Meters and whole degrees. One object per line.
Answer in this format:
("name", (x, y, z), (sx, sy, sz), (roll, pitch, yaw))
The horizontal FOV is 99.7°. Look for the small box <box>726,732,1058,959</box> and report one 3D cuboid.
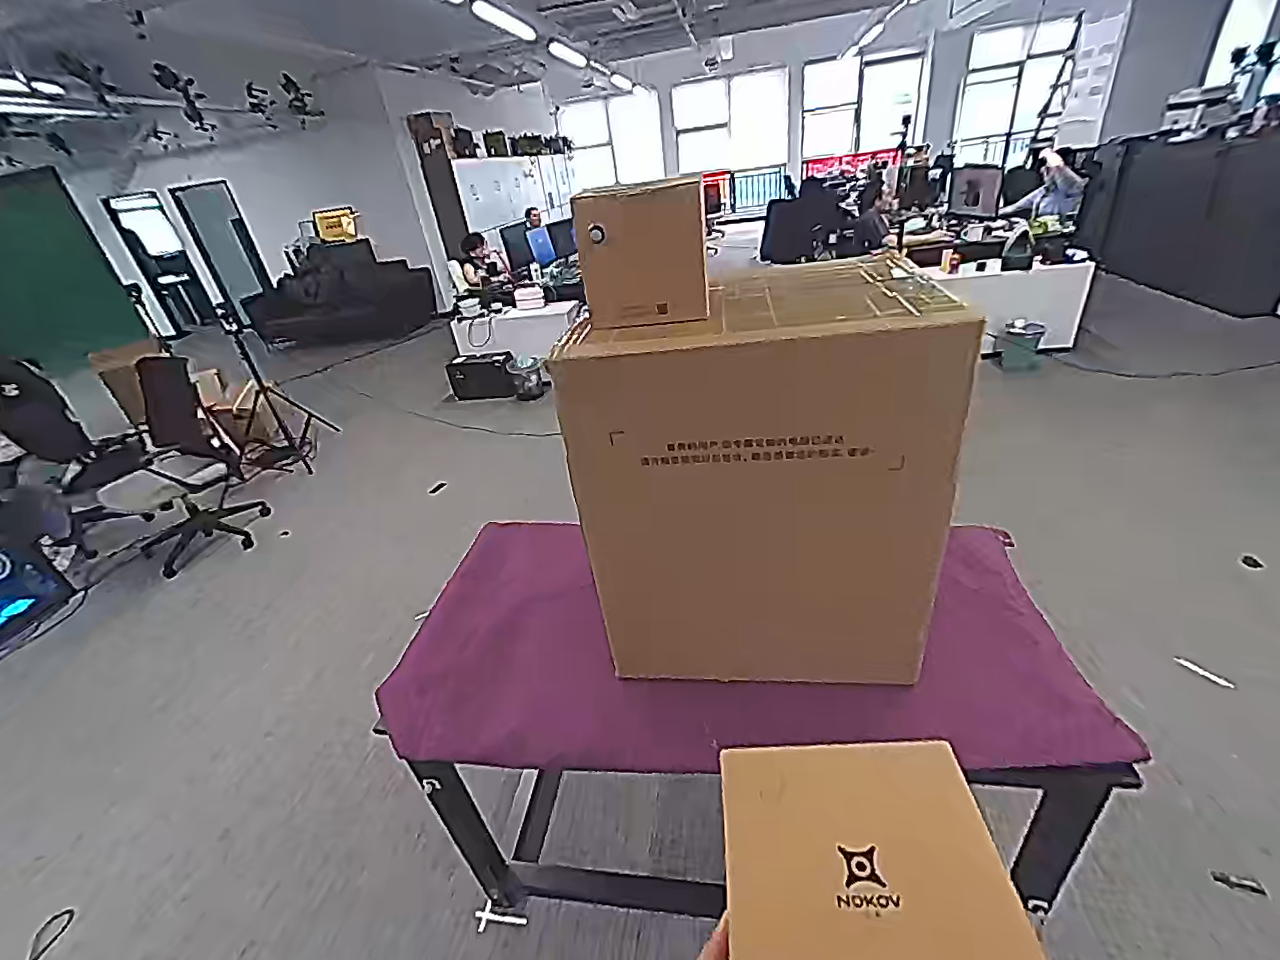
("small box", (0.150, 0.301, 0.364), (0.168, 0.176, 0.179), (-7, 27, 9))
